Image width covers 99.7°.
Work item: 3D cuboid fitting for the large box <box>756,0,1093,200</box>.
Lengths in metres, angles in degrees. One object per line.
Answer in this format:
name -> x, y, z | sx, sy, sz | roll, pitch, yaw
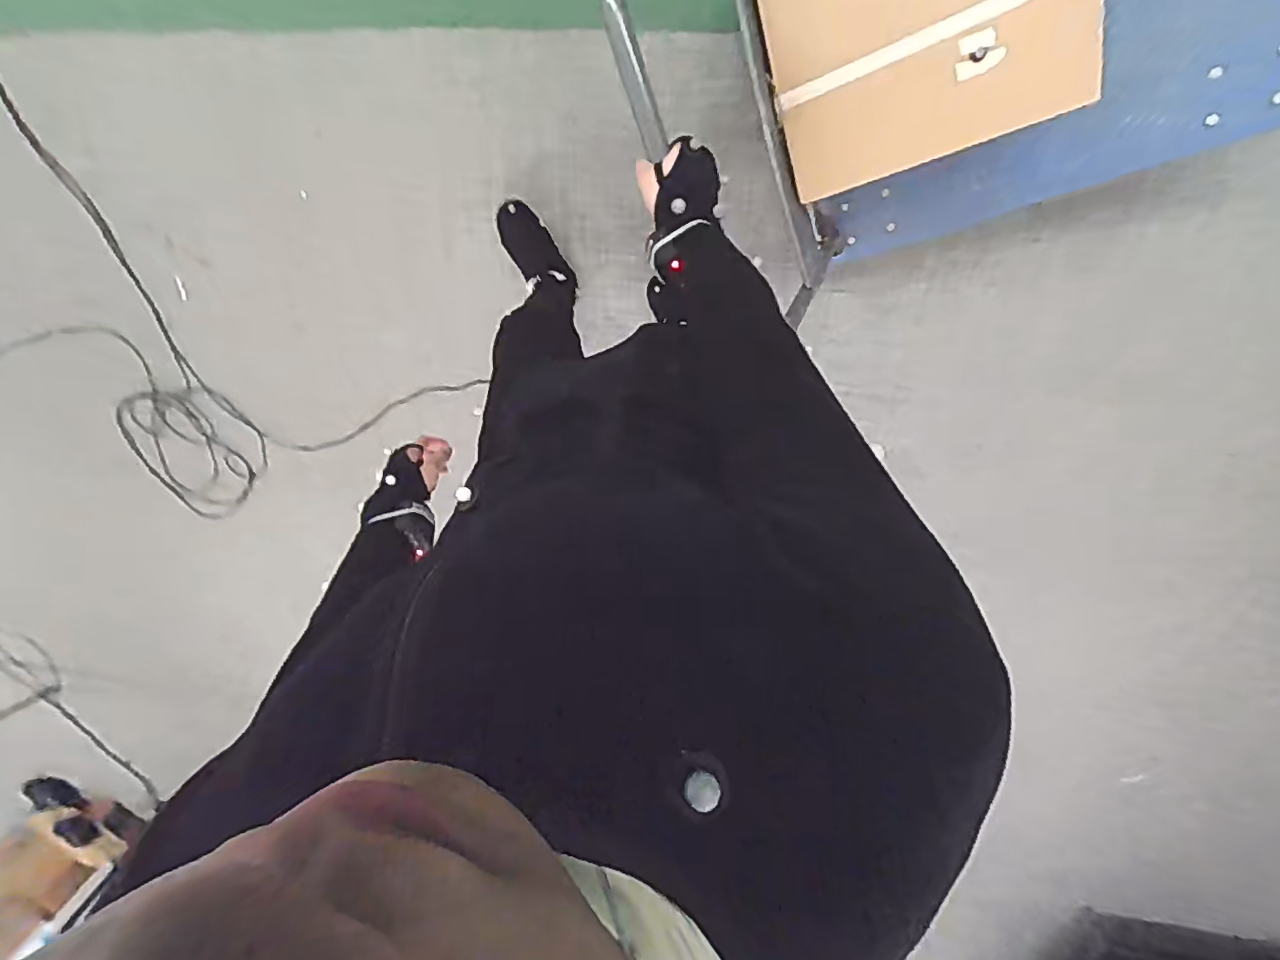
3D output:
large box -> 0.442, -0.709, 0.887 | 0.408, 0.320, 0.320 | -8, 119, 27
